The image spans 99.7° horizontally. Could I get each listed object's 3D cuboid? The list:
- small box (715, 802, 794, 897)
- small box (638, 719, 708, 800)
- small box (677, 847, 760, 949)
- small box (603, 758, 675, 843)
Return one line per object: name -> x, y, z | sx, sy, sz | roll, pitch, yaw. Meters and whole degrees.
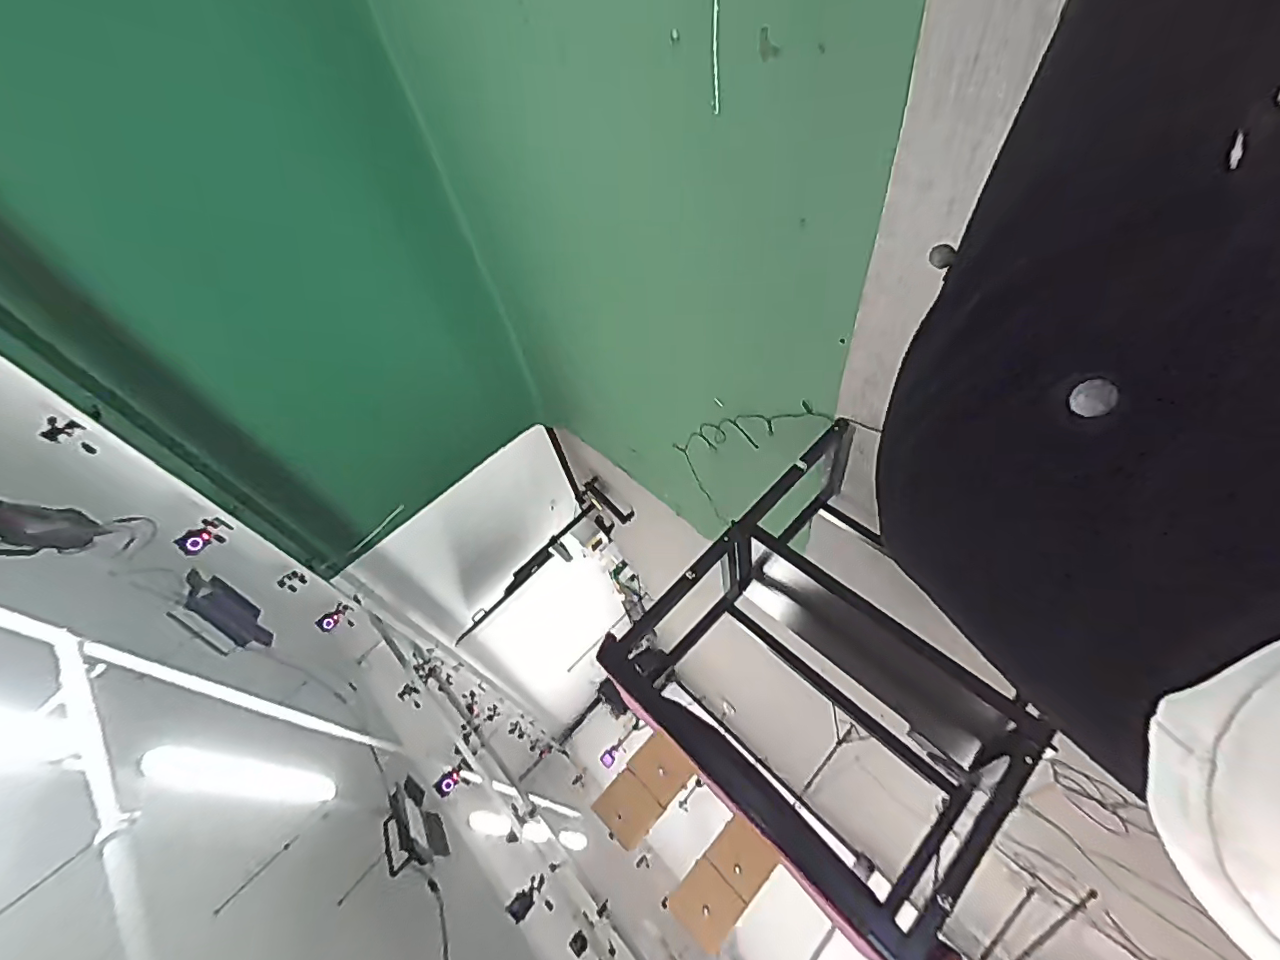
small box -> 0.352, 1.131, 1.664 | 0.179, 0.176, 0.168 | 38, 160, 30
small box -> 0.119, 0.955, 1.849 | 0.179, 0.176, 0.168 | 37, 159, 28
small box -> 0.234, 1.234, 1.615 | 0.179, 0.176, 0.168 | 37, 160, 29
small box -> 0.006, 1.063, 1.799 | 0.179, 0.176, 0.168 | 39, 160, 27
